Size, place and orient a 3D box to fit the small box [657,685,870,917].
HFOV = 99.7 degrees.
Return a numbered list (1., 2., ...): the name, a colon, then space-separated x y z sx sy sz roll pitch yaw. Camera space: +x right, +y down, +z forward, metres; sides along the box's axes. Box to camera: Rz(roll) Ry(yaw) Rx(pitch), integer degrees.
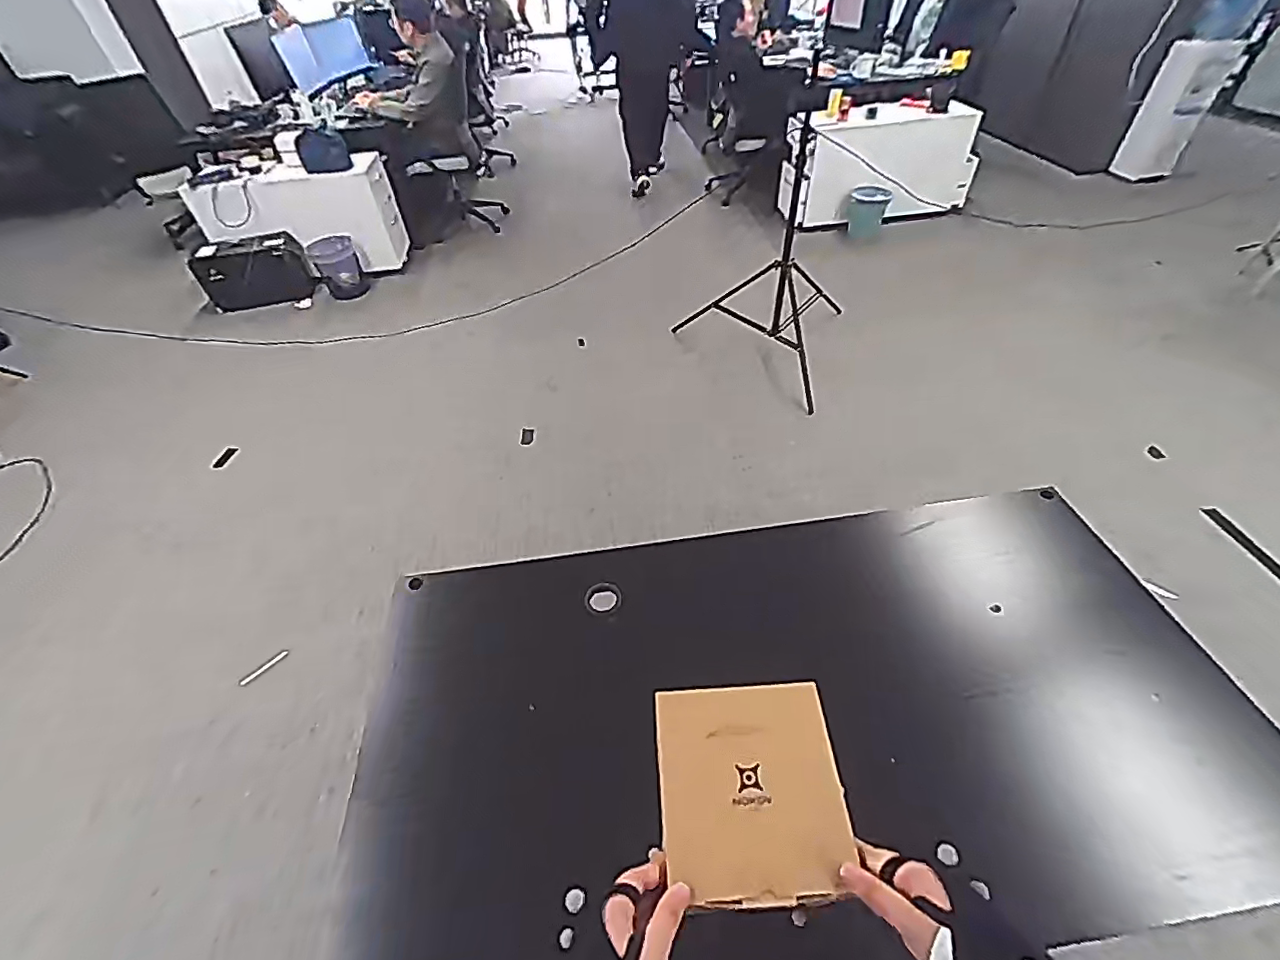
1. small box: 0.106 0.328 0.549 0.168 0.176 0.179 -3 49 -1
